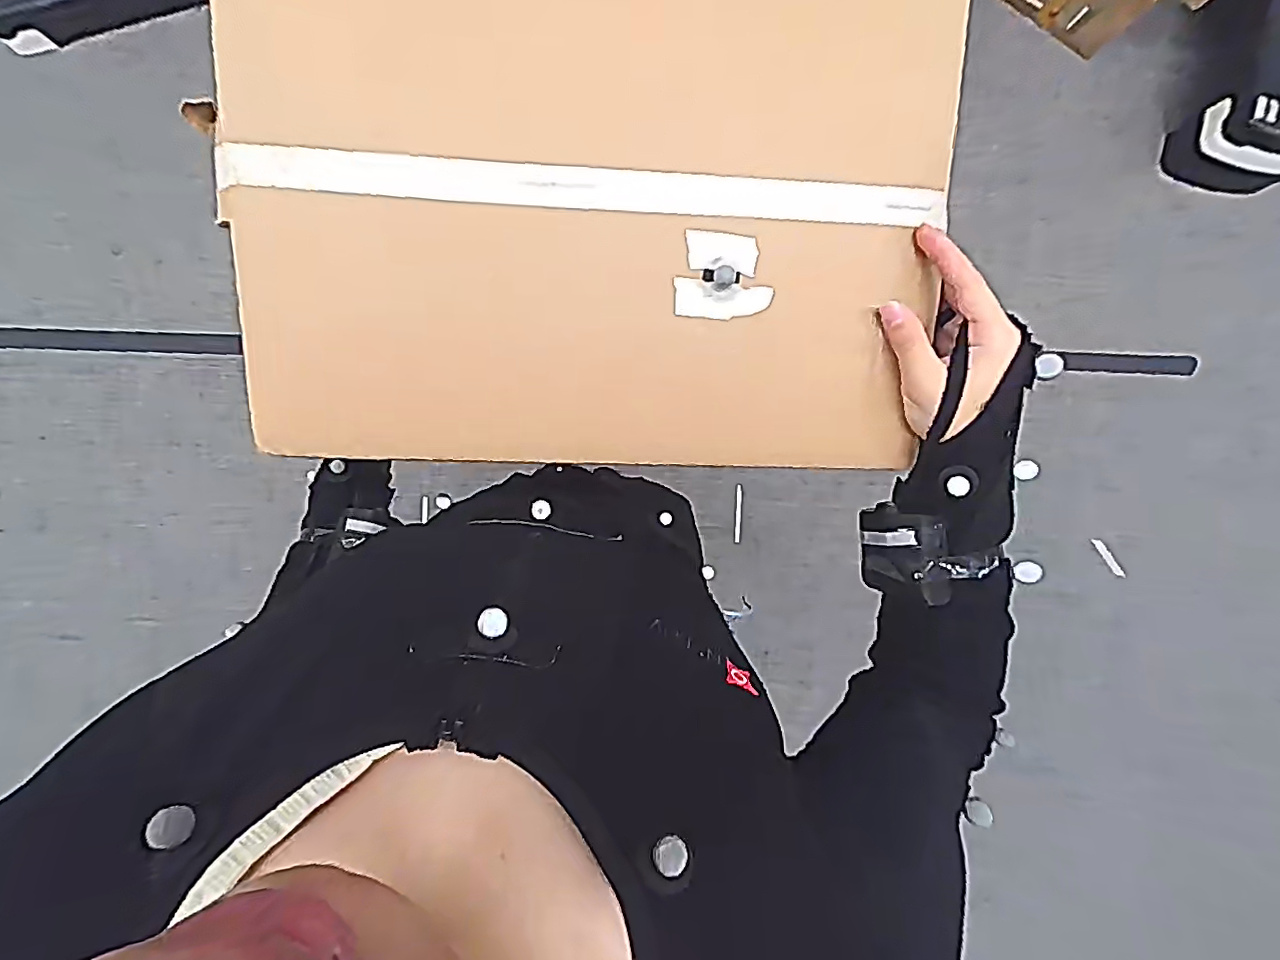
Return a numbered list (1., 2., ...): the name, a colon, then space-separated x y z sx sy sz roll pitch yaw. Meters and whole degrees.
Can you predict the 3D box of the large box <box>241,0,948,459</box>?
1. large box: -0.033 -0.191 0.465 0.408 0.320 0.320 1 100 -6
